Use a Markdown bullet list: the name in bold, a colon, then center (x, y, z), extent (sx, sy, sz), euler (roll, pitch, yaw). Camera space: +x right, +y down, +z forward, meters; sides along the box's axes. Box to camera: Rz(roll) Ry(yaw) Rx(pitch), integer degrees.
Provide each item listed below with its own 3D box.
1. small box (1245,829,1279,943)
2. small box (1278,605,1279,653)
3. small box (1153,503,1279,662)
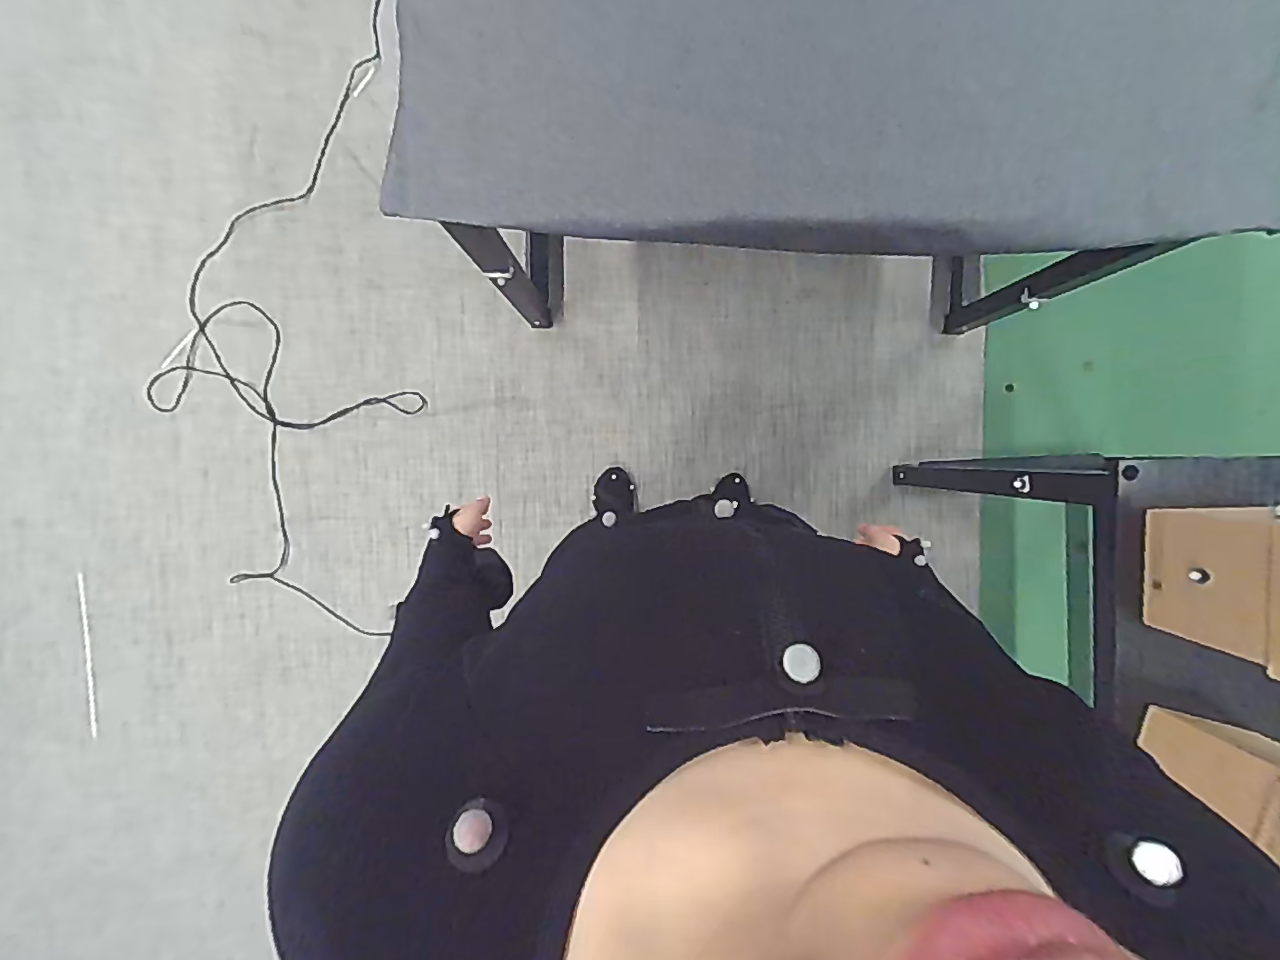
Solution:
- **small box**: center (0.771, 0.439, 0.520), extent (0.179, 0.176, 0.168), euler (17, 94, 0)
- **small box**: center (0.774, 0.134, 0.507), extent (0.168, 0.176, 0.179), euler (-1, 93, 2)
- **small box**: center (0.793, 0.119, 0.668), extent (0.179, 0.176, 0.168), euler (-1, 94, 1)
